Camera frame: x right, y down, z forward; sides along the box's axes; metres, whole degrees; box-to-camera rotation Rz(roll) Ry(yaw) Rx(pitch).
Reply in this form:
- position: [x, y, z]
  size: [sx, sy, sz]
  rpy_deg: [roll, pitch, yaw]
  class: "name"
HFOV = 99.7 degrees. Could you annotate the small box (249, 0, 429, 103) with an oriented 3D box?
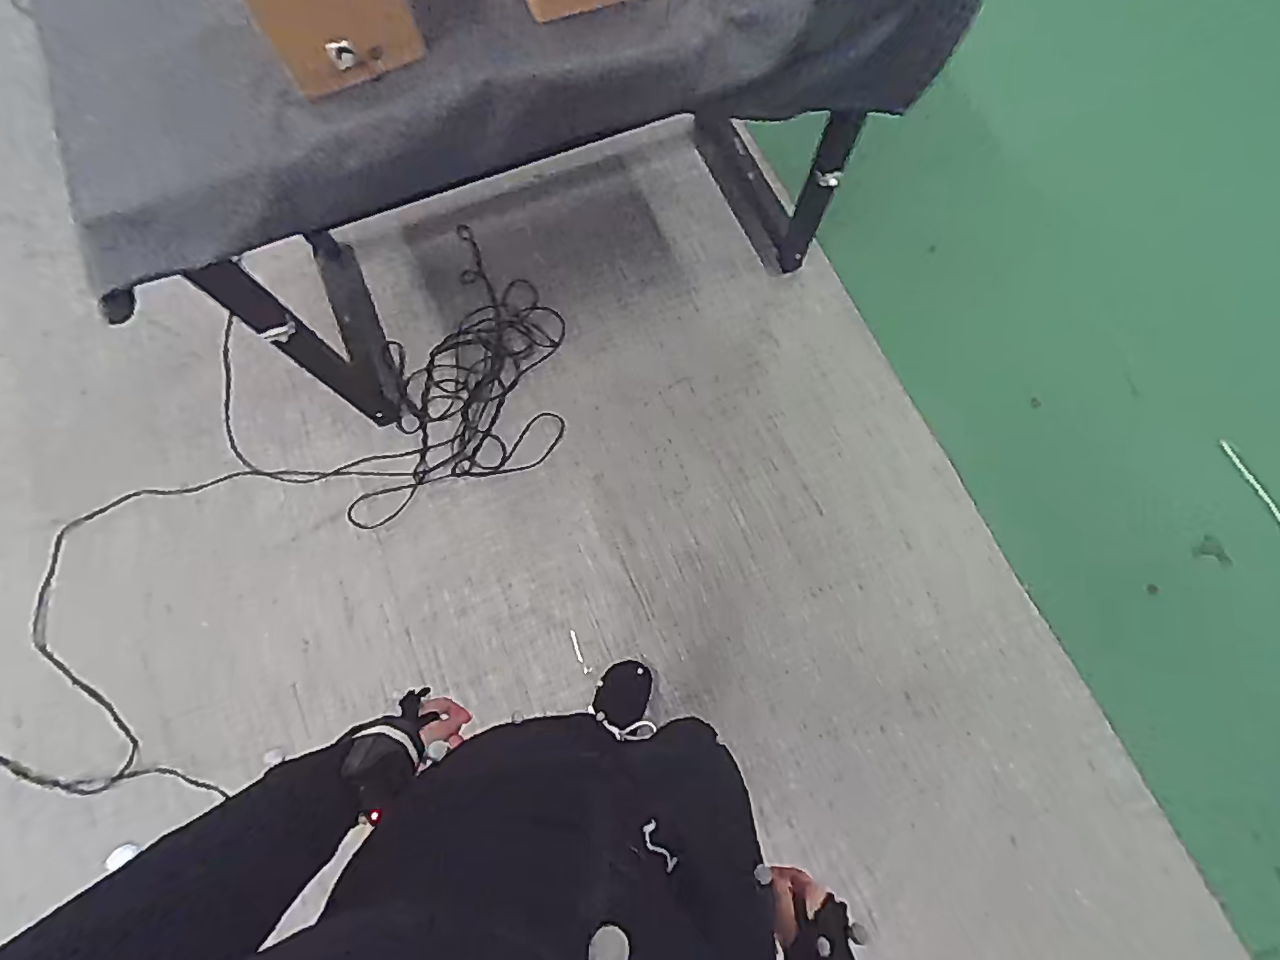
- position: [-0.381, -0.599, 0.634]
  size: [0.168, 0.176, 0.179]
  rpy_deg: [-30, 77, -7]
  class: "small box"
